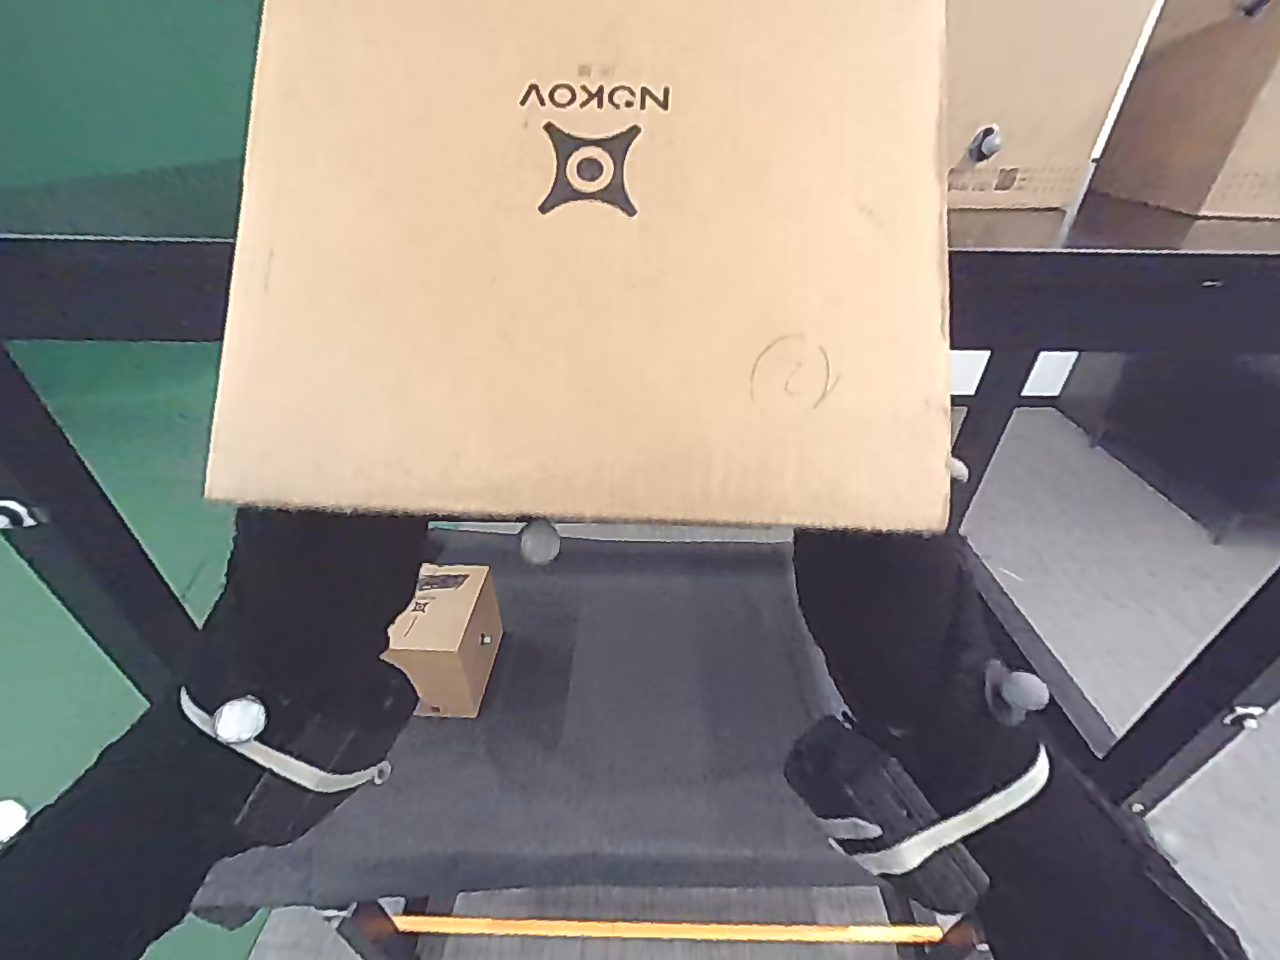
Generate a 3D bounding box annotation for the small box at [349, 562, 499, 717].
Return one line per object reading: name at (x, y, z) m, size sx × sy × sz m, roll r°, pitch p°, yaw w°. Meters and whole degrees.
small box at (-0.335, 0.257, 0.882) m, size 0.168 × 0.176 × 0.179 m, roll 2°, pitch 35°, yaw 1°

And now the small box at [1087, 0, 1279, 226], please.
small box at (0.490, -0.287, 0.398) m, size 0.168 × 0.176 × 0.179 m, roll 7°, pitch 35°, yaw 9°

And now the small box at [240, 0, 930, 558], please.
small box at (-0.010, -0.065, 0.214) m, size 0.168 × 0.179 × 0.176 m, roll 2°, pitch -6°, yaw 1°
